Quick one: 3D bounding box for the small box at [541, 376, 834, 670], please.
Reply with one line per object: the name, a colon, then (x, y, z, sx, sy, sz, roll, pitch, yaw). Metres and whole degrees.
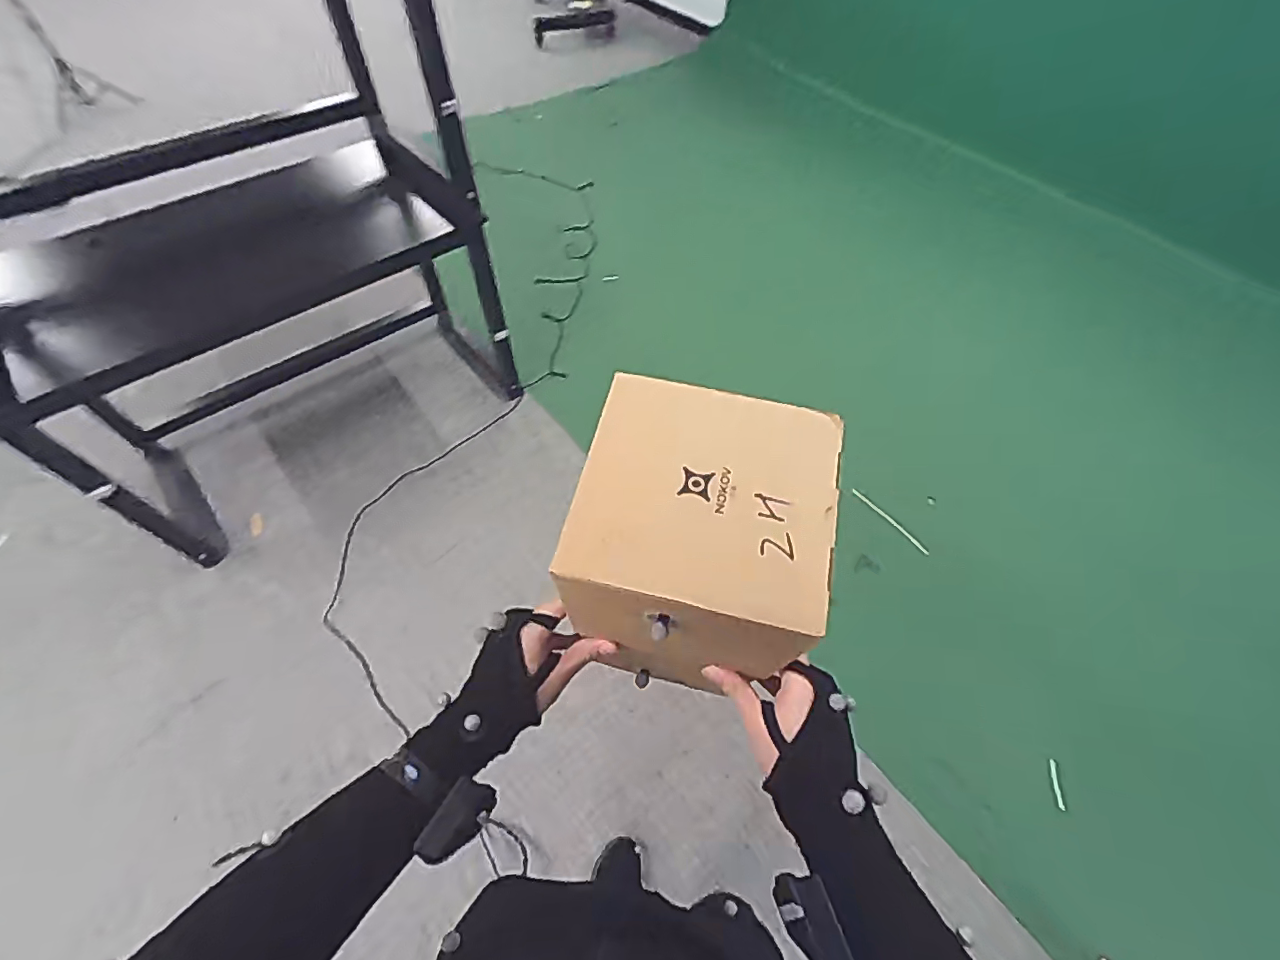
small box: (0.039, 0.044, 0.438, 0.179, 0.176, 0.168, 12, 63, 6)

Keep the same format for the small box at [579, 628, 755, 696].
small box: (0.037, 0.118, 0.585, 0.168, 0.176, 0.179, 13, 63, 5)
